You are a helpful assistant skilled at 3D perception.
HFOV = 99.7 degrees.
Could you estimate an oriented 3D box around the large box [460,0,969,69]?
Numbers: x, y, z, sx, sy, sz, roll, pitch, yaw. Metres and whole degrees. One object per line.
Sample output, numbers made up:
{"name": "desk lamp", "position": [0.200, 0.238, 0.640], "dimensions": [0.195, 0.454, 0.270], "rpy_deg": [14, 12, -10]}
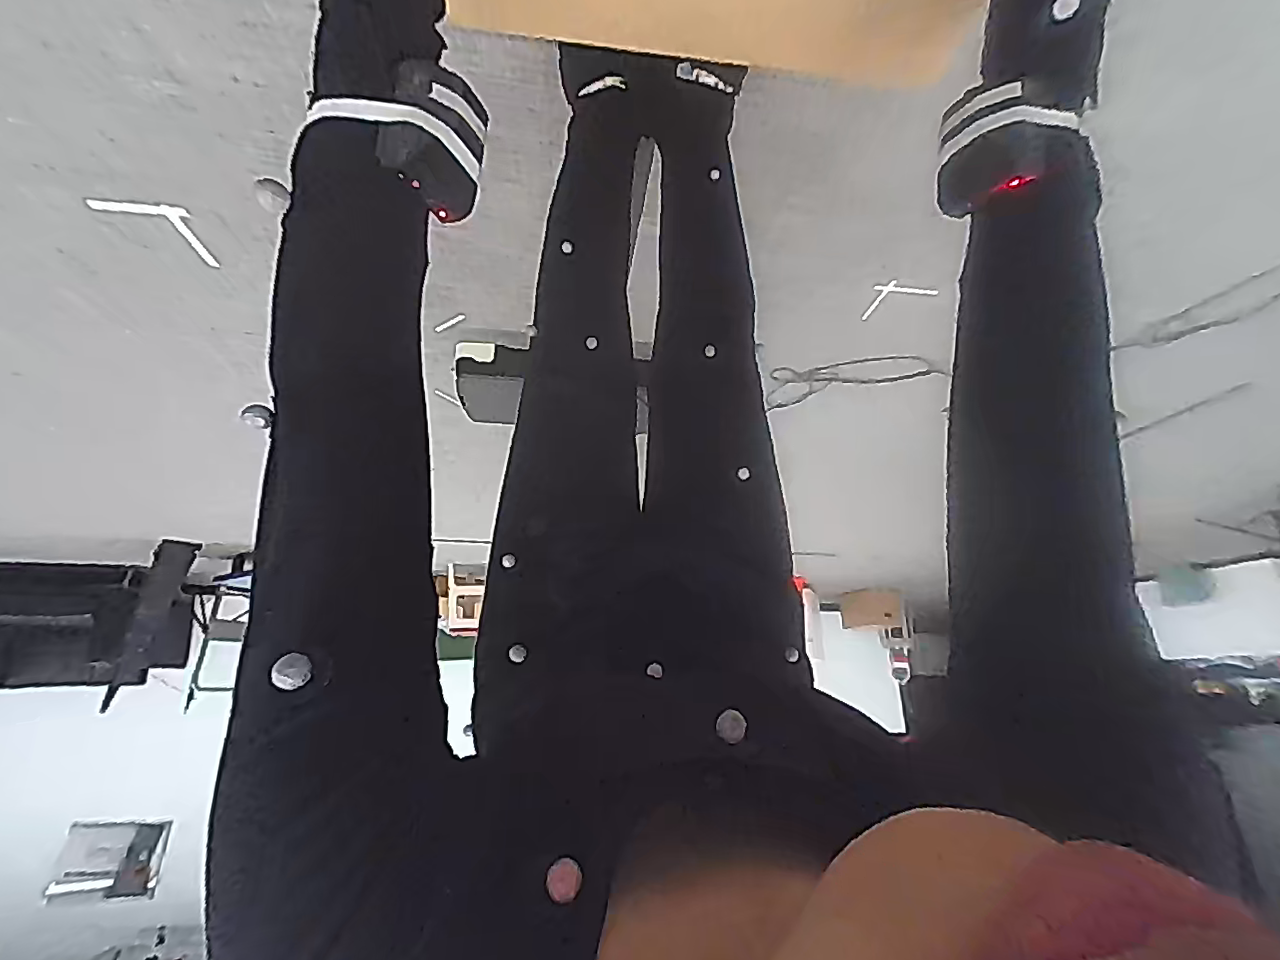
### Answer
{"name": "large box", "position": [0.066, -0.556, 0.371], "dimensions": [0.408, 0.320, 0.320], "rpy_deg": [3, 157, -4]}
